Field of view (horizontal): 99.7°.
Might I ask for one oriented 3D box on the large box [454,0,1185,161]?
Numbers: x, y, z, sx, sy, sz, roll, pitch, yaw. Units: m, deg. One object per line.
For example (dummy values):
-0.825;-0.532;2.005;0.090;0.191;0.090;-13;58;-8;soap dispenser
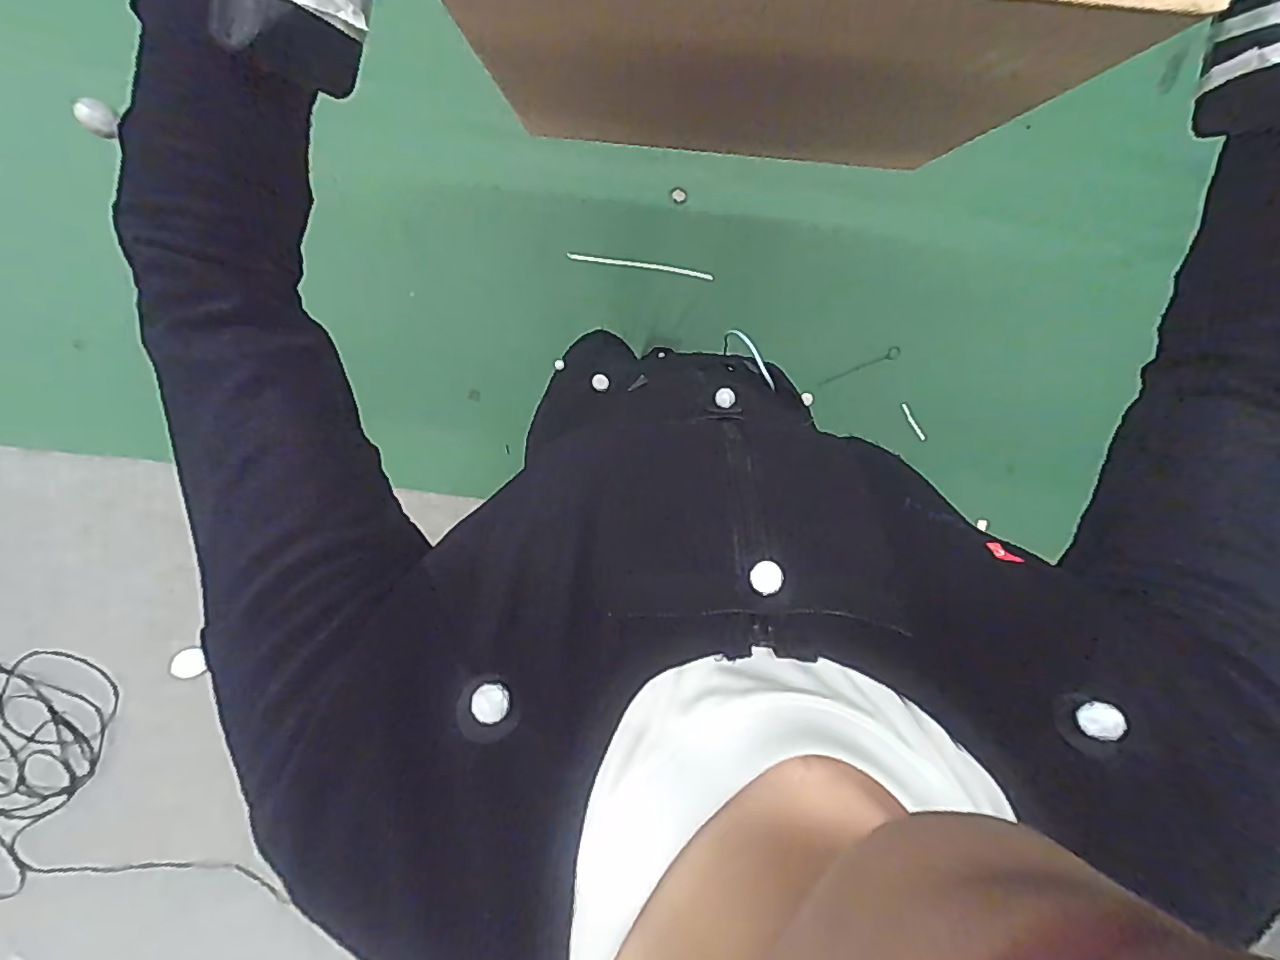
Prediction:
0.094;-0.441;0.374;0.408;0.320;0.320;4;108;-1;large box
